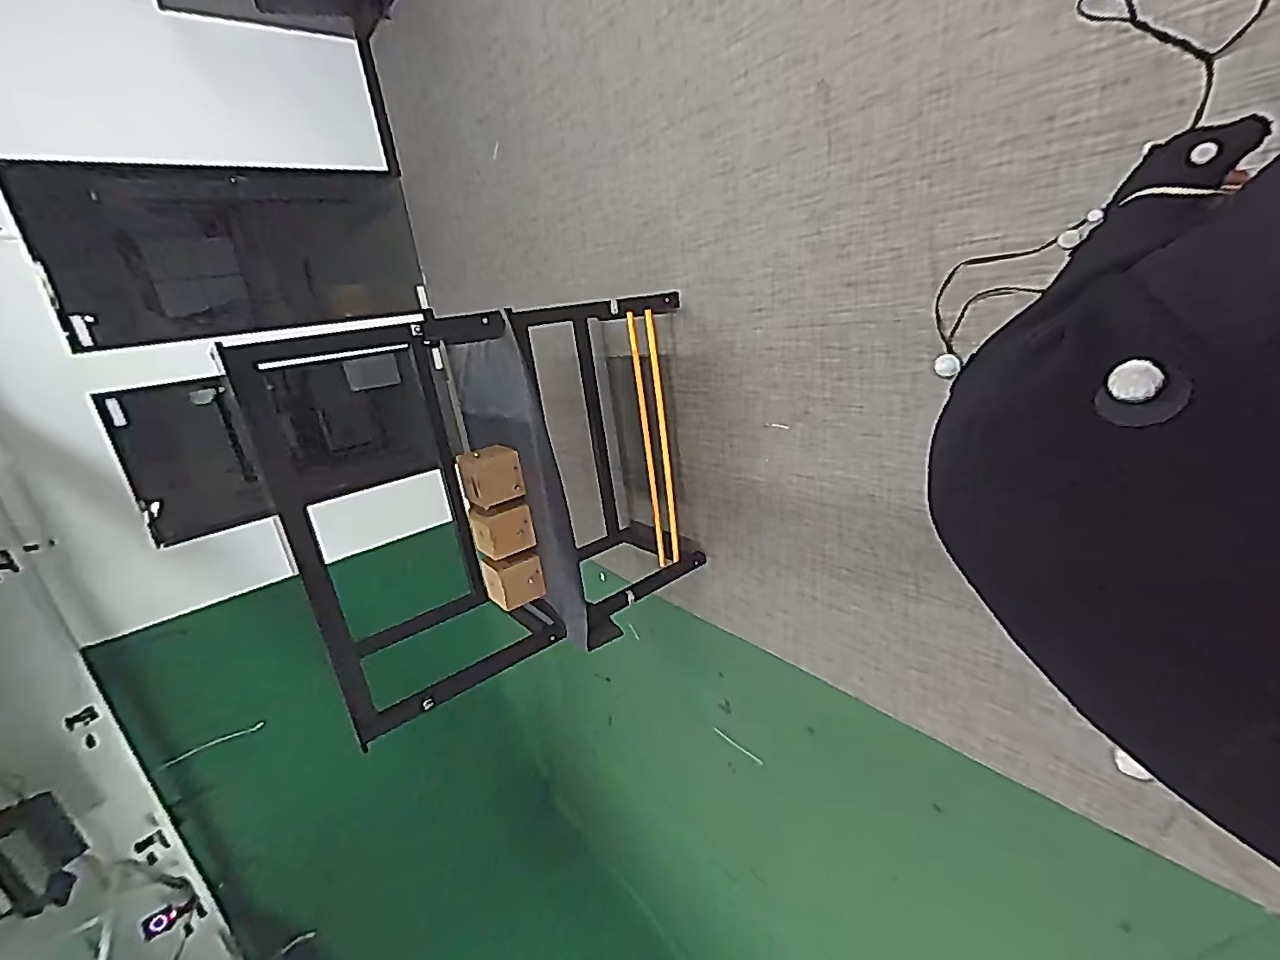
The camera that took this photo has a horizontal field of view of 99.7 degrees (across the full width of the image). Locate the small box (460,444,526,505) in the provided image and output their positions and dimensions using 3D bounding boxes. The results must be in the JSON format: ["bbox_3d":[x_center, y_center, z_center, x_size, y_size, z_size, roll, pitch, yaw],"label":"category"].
[{"bbox_3d":[-0.521,-0.026,1.947,0.179,0.176,0.168,16,120,51],"label":"small box"}]
